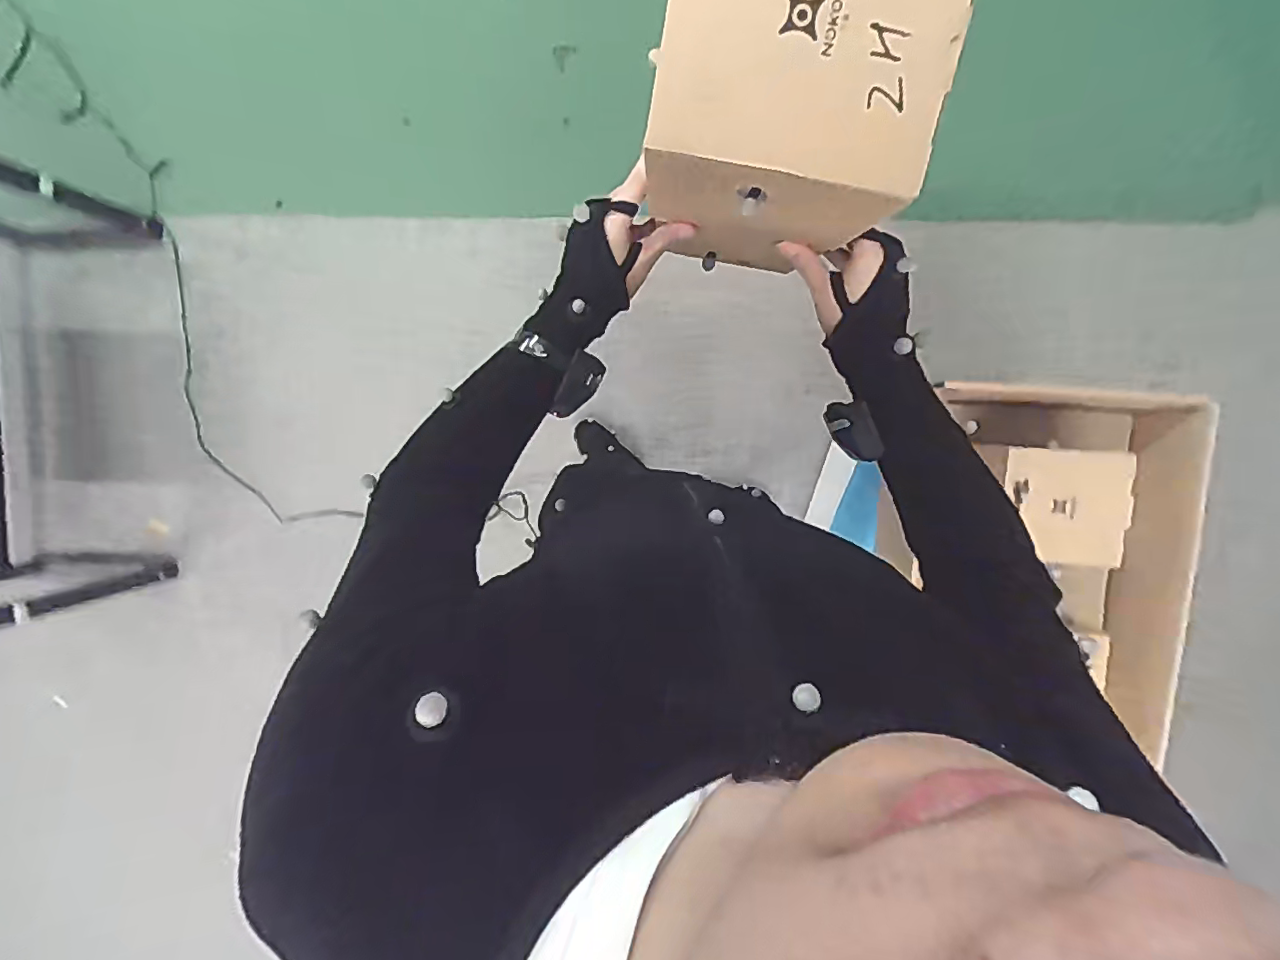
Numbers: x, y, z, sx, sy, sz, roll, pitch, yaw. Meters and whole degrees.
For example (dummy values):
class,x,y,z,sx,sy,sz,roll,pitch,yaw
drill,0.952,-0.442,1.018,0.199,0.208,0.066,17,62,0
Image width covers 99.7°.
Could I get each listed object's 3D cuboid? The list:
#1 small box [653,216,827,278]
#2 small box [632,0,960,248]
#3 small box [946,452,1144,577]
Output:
class,x,y,z,sx,sy,sz,roll,pitch,yaw
small box,0.105,-0.321,0.554,0.168,0.176,0.179,10,103,0
small box,0.098,-0.281,0.394,0.179,0.176,0.168,10,103,0
small box,0.617,0.045,0.844,0.179,0.176,0.168,4,94,4
